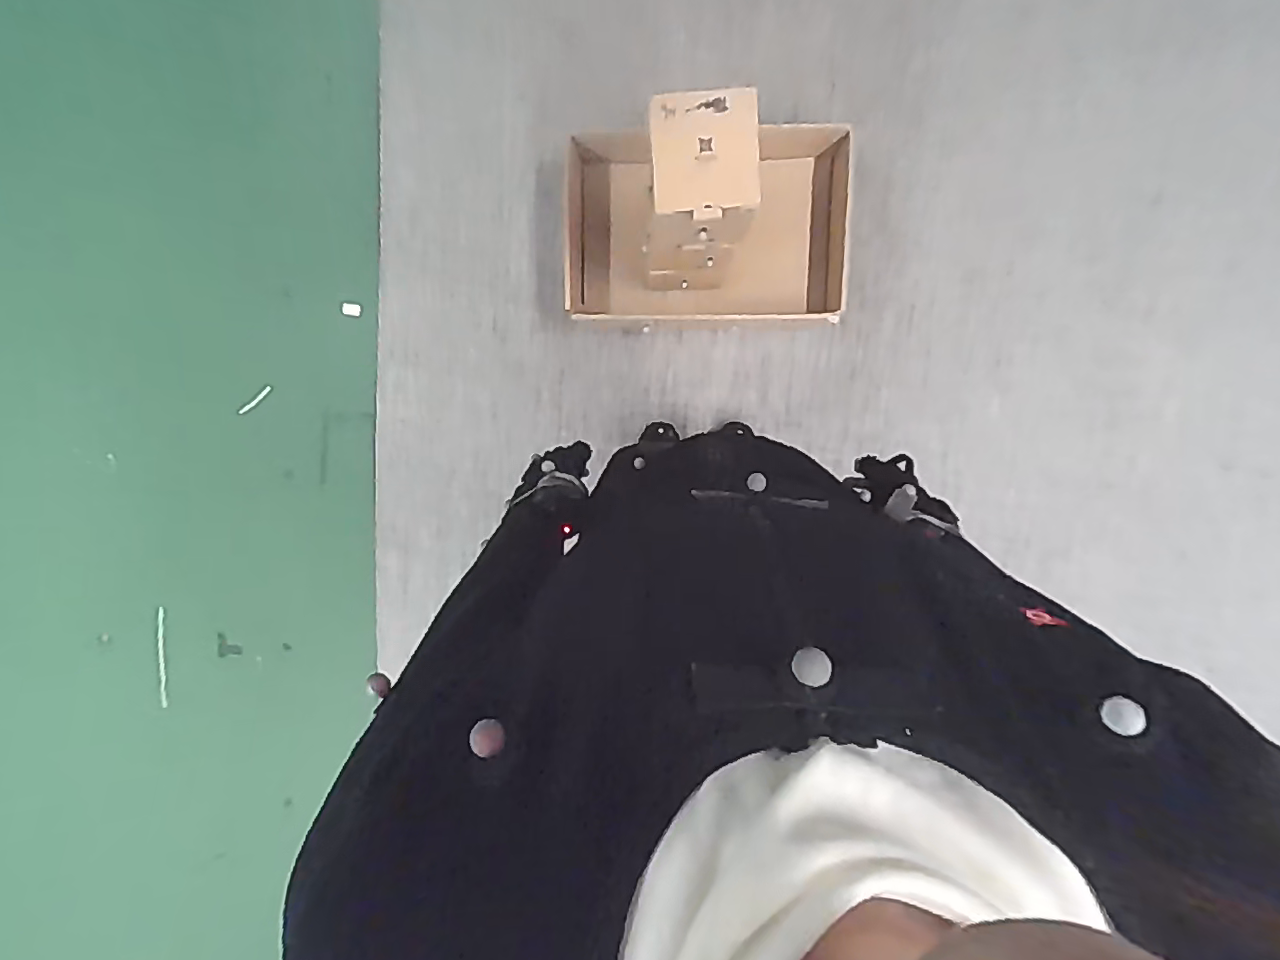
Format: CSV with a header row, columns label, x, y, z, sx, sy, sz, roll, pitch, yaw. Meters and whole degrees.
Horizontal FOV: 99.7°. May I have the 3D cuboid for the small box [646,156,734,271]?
label,x,y,z,sx,sy,sz,roll,pitch,yaw
small box,0.098,-0.525,1.074,0.168,0.176,0.179,1,95,1

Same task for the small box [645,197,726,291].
label,x,y,z,sx,sy,sz,roll,pitch,yaw
small box,0.102,-0.536,1.235,0.179,0.176,0.168,0,96,4

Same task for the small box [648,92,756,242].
label,x,y,z,sx,sy,sz,roll,pitch,yaw
small box,0.099,-0.511,0.911,0.168,0.176,0.179,-1,97,2
